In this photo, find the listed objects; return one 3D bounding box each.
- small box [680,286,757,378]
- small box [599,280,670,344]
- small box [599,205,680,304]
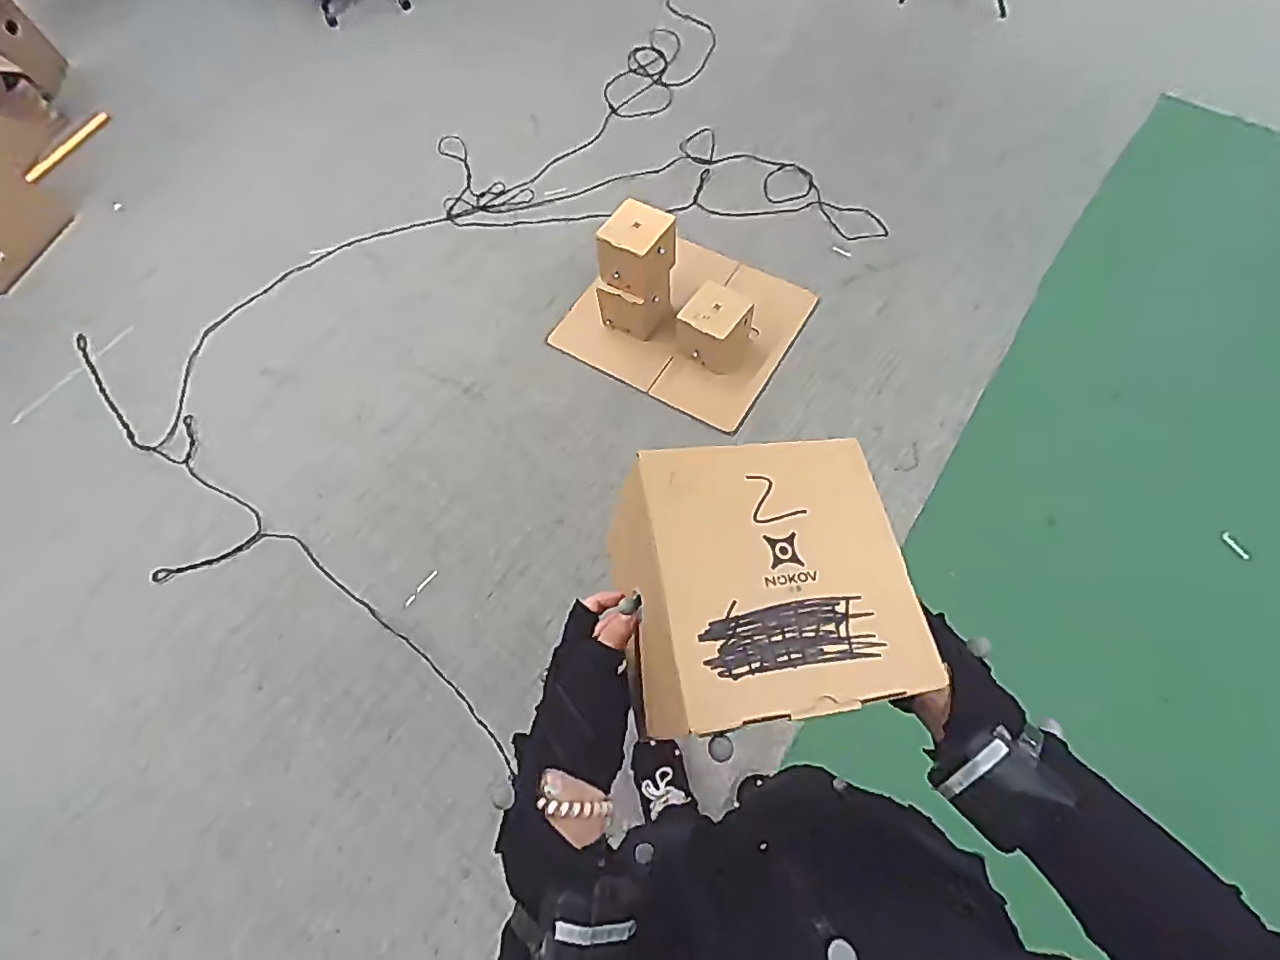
[{"bbox_3d":[0.234,-0.450,1.659,0.168,0.176,0.179,33,72,18],"label":"small box"},{"bbox_3d":[-0.008,-0.569,1.728,0.168,0.176,0.179,27,70,15],"label":"small box"},{"bbox_3d":[0.001,-0.658,1.588,0.168,0.176,0.179,30,70,16],"label":"small box"}]
